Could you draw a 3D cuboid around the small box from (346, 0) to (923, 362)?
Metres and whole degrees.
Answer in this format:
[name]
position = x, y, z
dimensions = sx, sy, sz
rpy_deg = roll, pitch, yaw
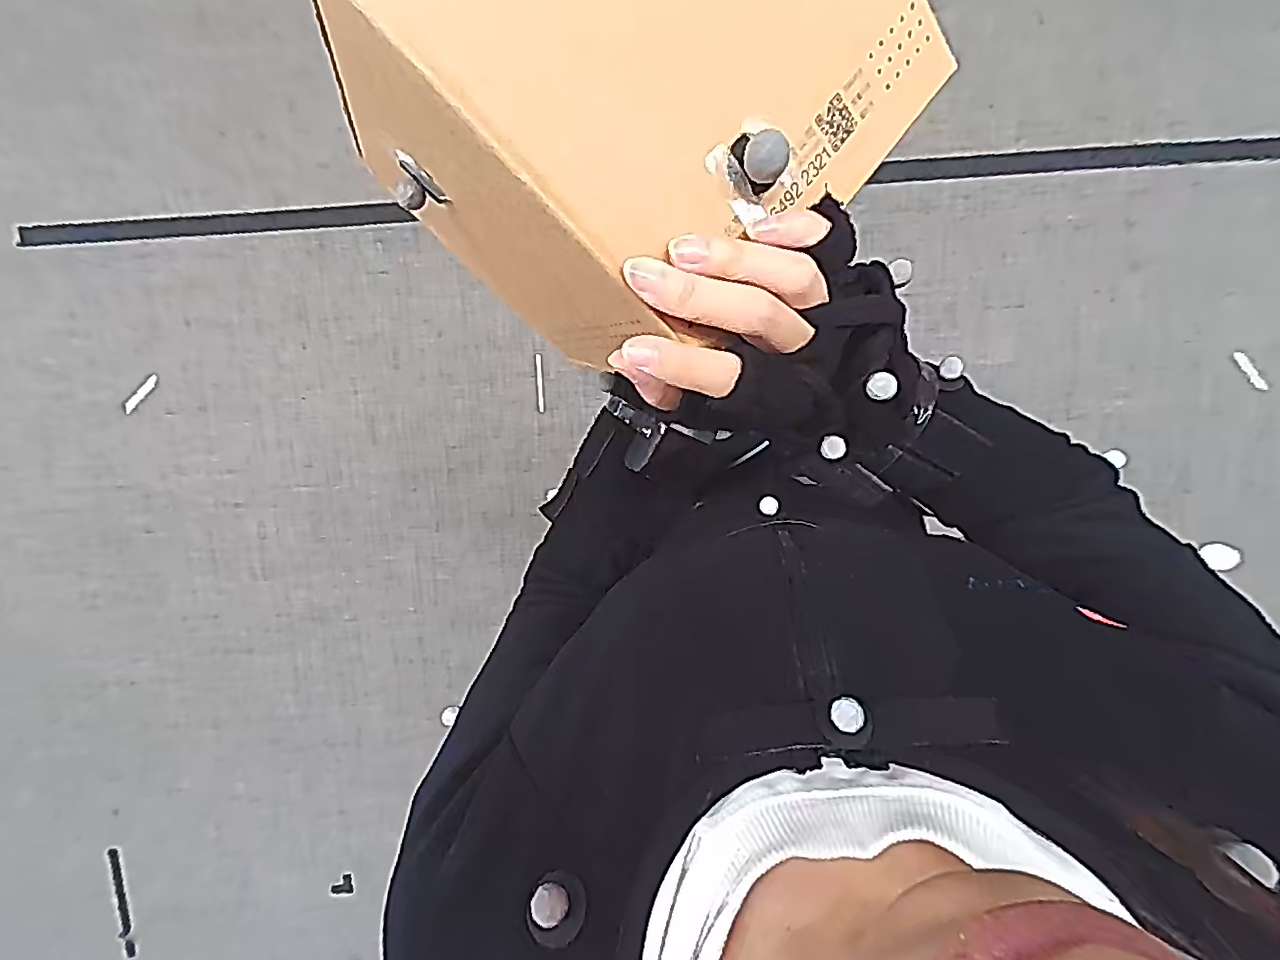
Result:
[small box]
position = -0.008, -0.175, 0.272
dimensions = 0.176, 0.179, 0.168
rpy_deg = 40, 86, -24
